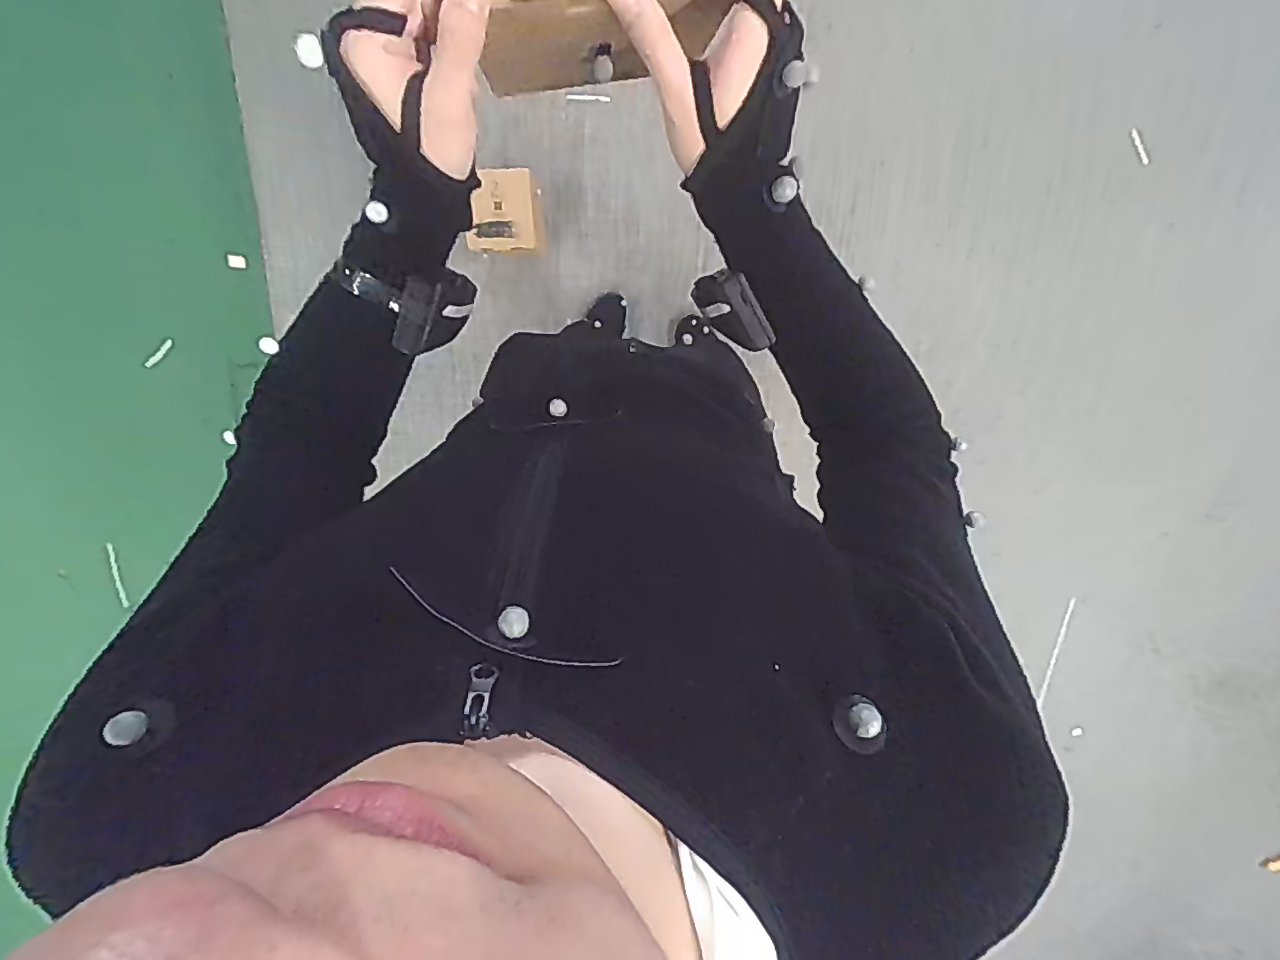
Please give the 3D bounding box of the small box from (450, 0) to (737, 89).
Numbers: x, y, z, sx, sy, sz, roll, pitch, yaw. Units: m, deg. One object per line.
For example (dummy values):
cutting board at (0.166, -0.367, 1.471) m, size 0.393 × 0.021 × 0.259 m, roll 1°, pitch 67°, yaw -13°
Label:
small box at (-0.039, -0.365, 0.331) m, size 0.168 × 0.176 × 0.179 m, roll -10°, pitch 115°, yaw -3°
